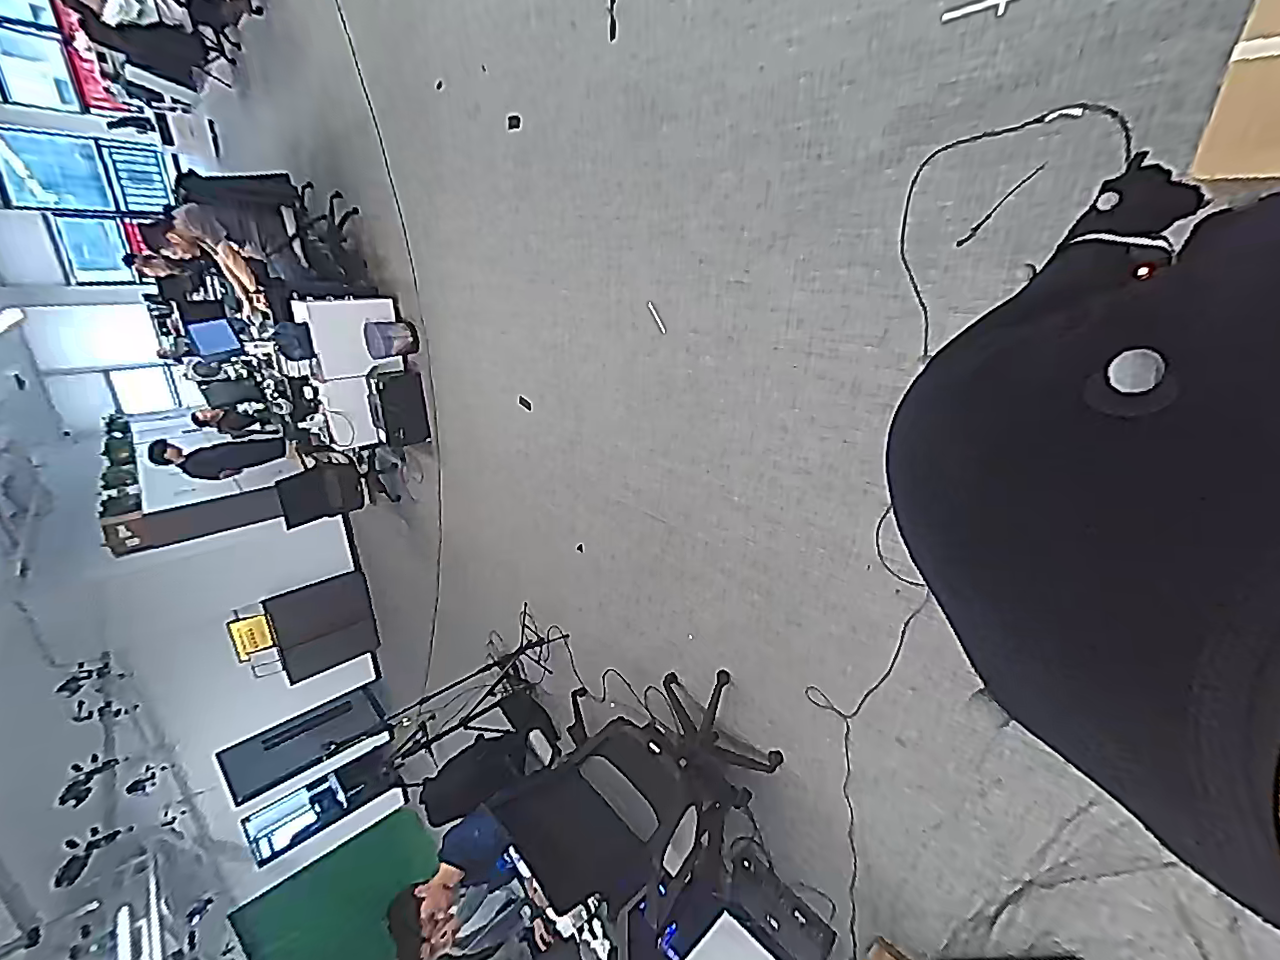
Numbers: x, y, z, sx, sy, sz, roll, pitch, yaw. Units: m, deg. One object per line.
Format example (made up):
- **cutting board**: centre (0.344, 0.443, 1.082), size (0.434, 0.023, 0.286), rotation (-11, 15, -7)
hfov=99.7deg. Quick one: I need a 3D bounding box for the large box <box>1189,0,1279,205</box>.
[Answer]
- **large box**: centre (1.067, -0.557, 0.718), size (0.408, 0.320, 0.320), rotation (25, 122, 41)
